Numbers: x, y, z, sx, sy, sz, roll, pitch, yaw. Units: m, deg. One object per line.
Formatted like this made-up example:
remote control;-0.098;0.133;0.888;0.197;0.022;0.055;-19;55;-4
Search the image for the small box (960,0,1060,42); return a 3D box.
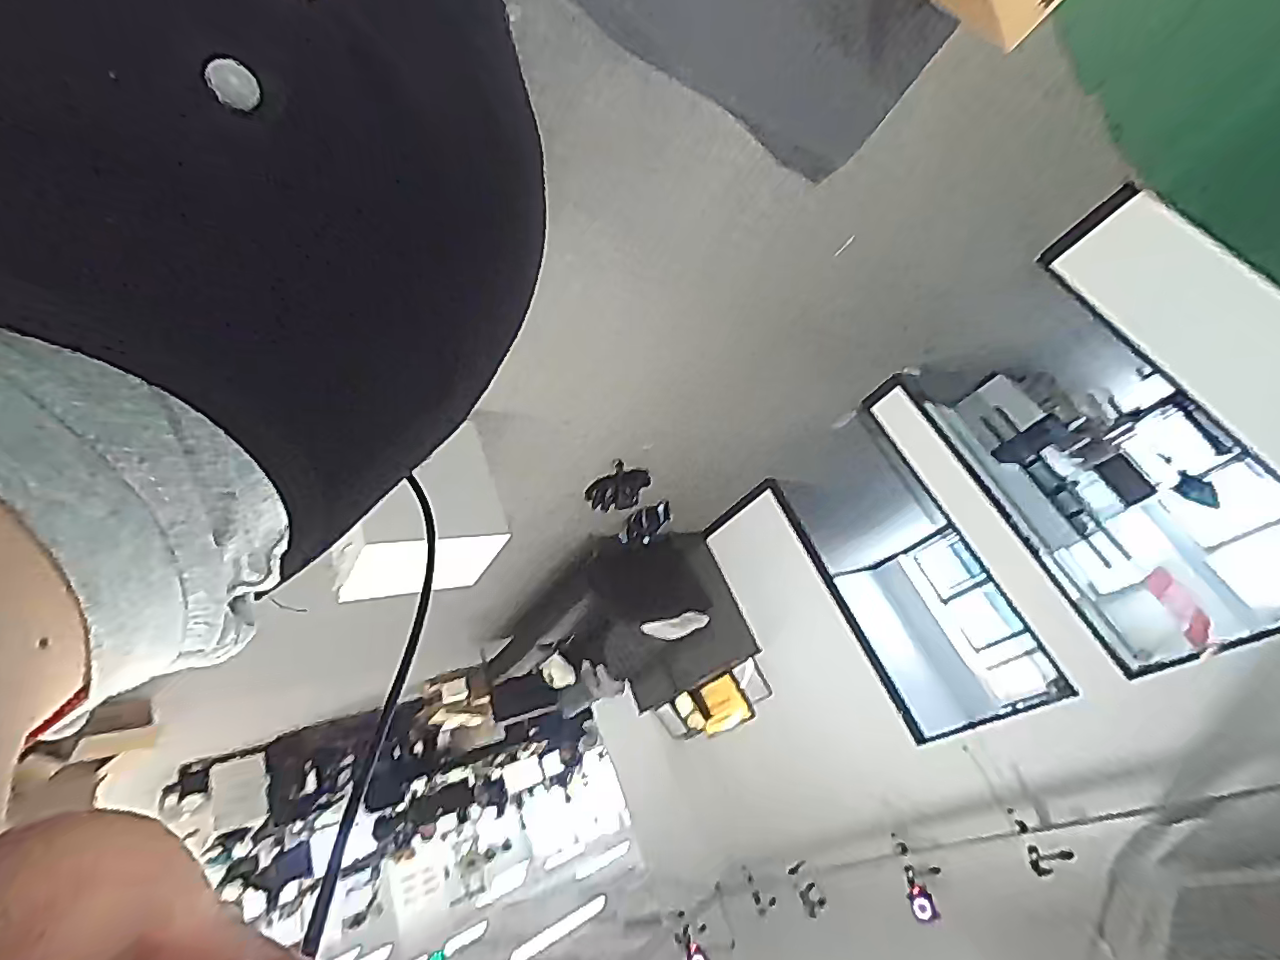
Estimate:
small box;0.448;-0.683;0.632;0.179;0.176;0.168;6;142;-45
